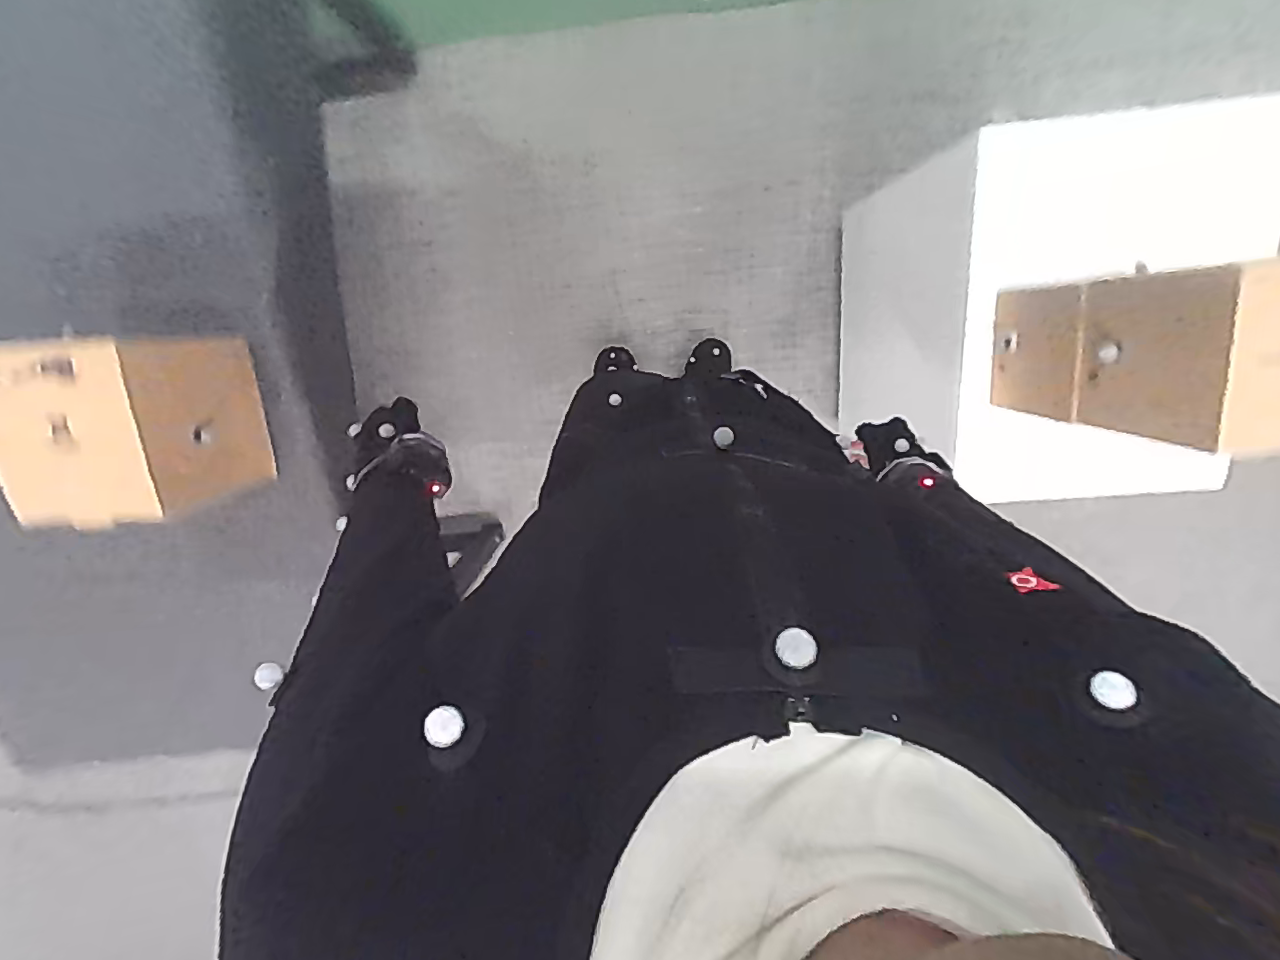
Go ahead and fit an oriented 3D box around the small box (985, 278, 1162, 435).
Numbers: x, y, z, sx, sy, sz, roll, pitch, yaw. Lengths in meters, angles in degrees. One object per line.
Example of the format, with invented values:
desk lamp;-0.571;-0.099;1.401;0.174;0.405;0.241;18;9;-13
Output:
small box;0.574;-0.160;0.679;0.179;0.176;0.168;-6;105;5

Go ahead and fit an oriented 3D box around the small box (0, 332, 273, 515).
small box;-0.558;-0.071;0.609;0.168;0.176;0.179;-1;106;4

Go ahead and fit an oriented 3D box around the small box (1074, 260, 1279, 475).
small box;0.573;-0.117;0.520;0.179;0.176;0.168;-10;105;4
